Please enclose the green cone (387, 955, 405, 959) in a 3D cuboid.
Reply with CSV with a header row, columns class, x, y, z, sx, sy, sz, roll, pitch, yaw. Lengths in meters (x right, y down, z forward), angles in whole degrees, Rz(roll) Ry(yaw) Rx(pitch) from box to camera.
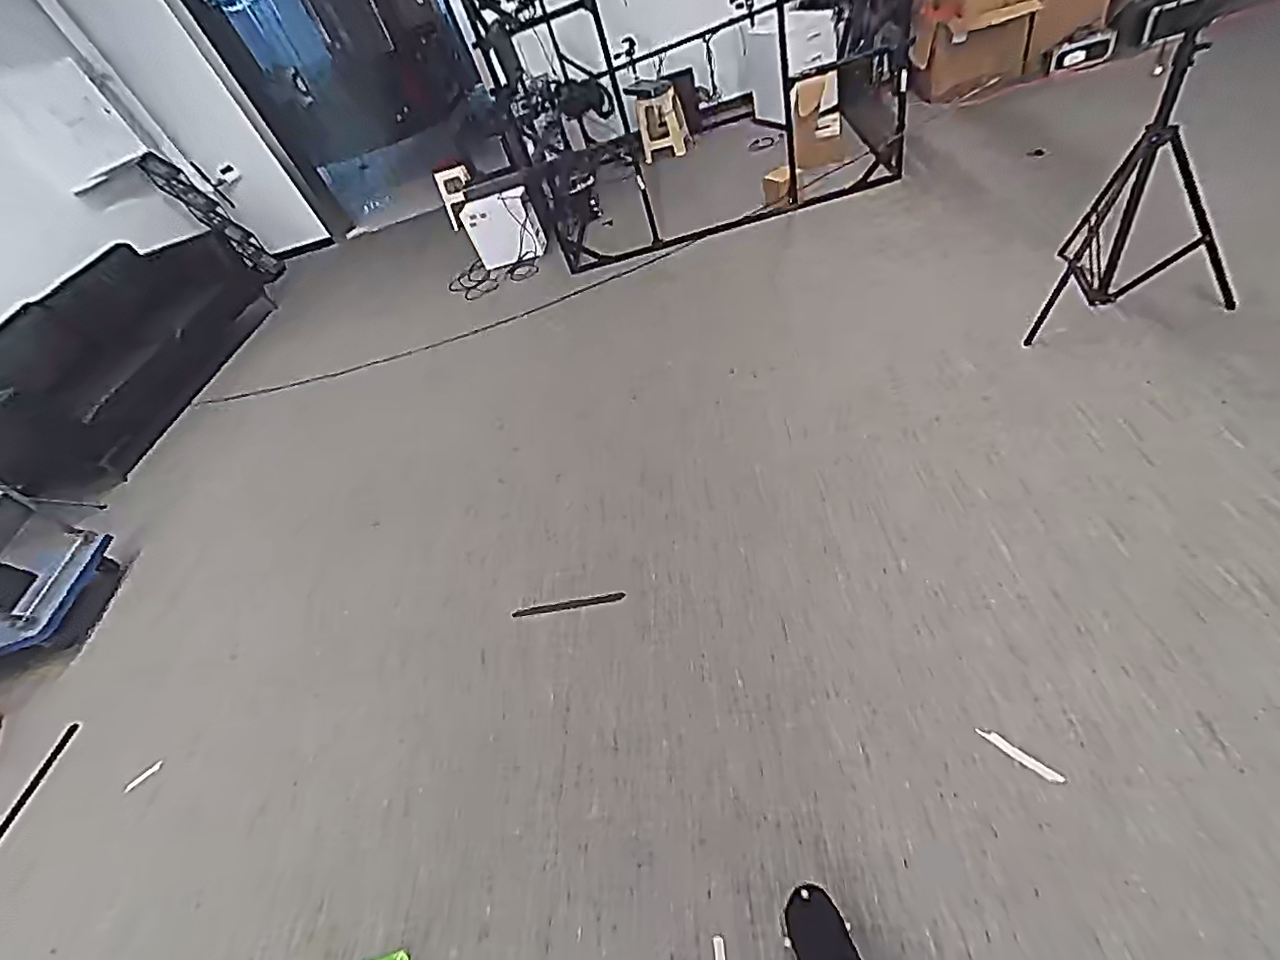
class,x,y,z,sx,sy,sz,roll,pitch,yaw
green cone,-0.654,1.083,1.064,0.202,0.368,0.200,-22,44,0
